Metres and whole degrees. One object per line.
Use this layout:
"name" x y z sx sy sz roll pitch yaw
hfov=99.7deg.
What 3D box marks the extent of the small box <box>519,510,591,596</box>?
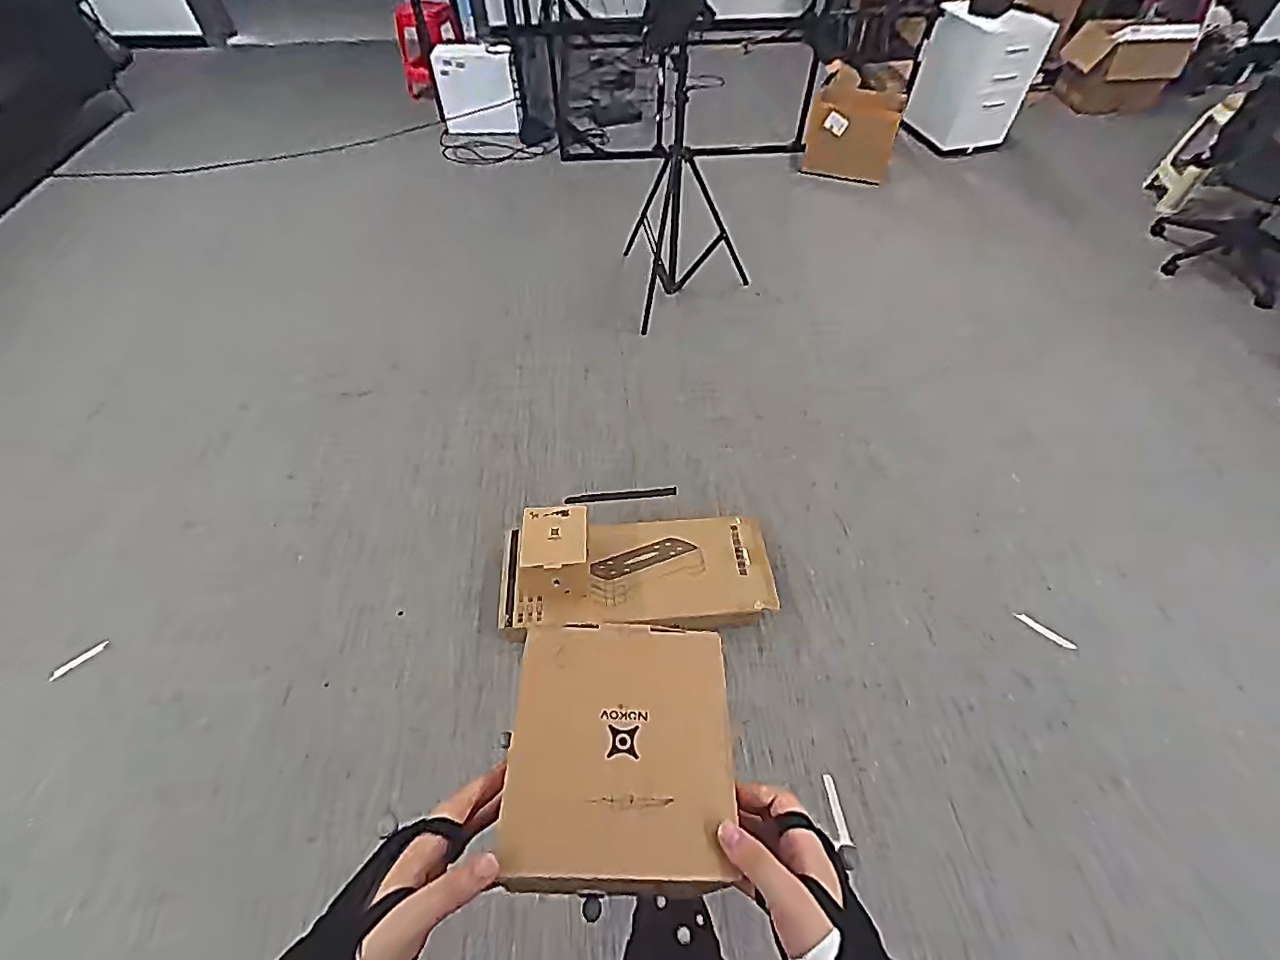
"small box" -0.215 0.197 1.420 0.168 0.176 0.179 -2 53 -2
